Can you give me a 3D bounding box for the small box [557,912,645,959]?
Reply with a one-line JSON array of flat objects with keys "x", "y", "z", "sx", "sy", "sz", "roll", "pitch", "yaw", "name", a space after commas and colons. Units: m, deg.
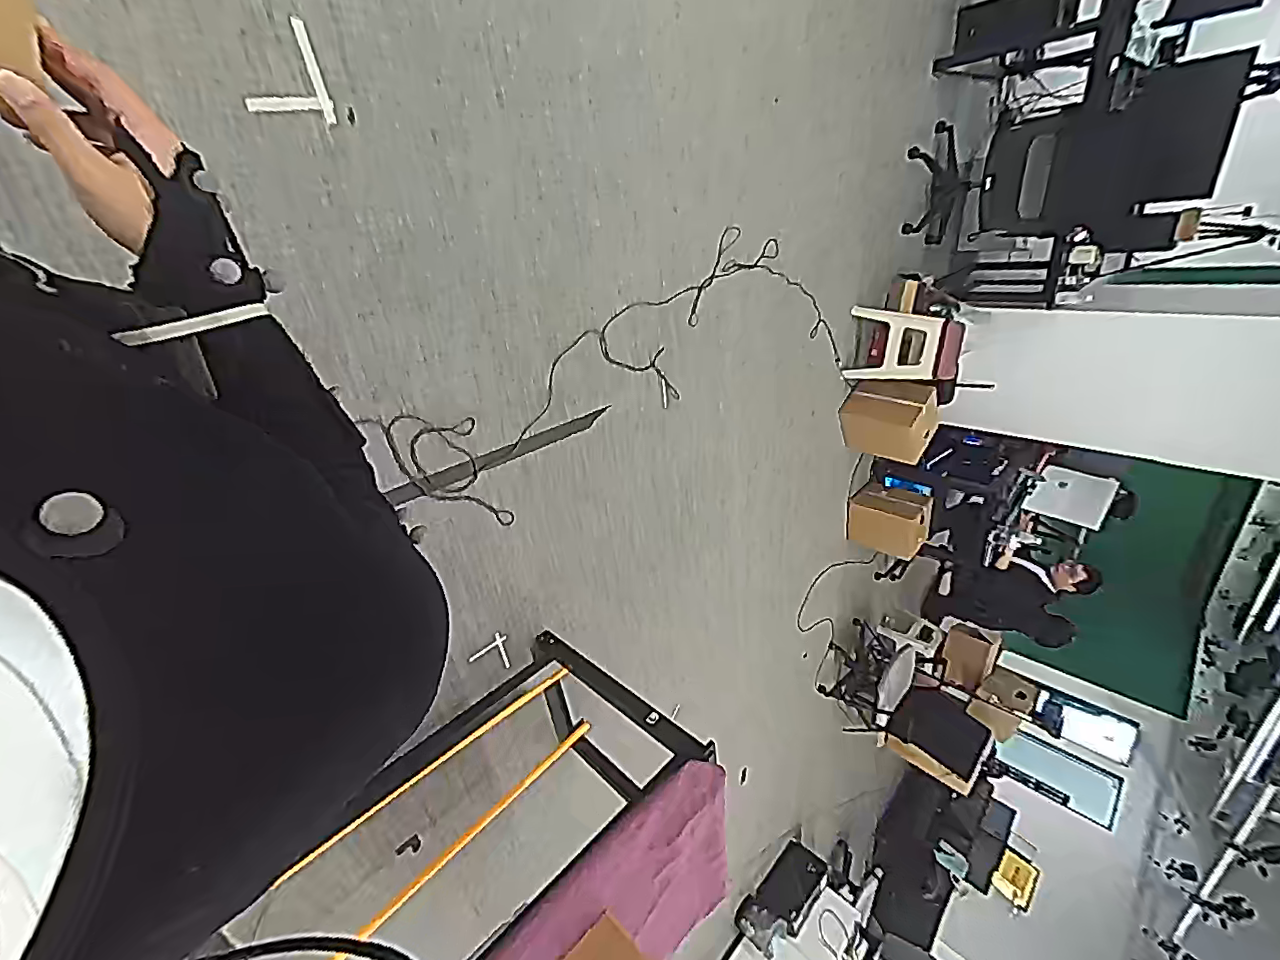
[{"x": -0.082, "y": 1.104, "z": 1.171, "sx": 0.179, "sy": 0.176, "sz": 0.168, "roll": -28, "pitch": 123, "yaw": -37, "name": "small box"}]
